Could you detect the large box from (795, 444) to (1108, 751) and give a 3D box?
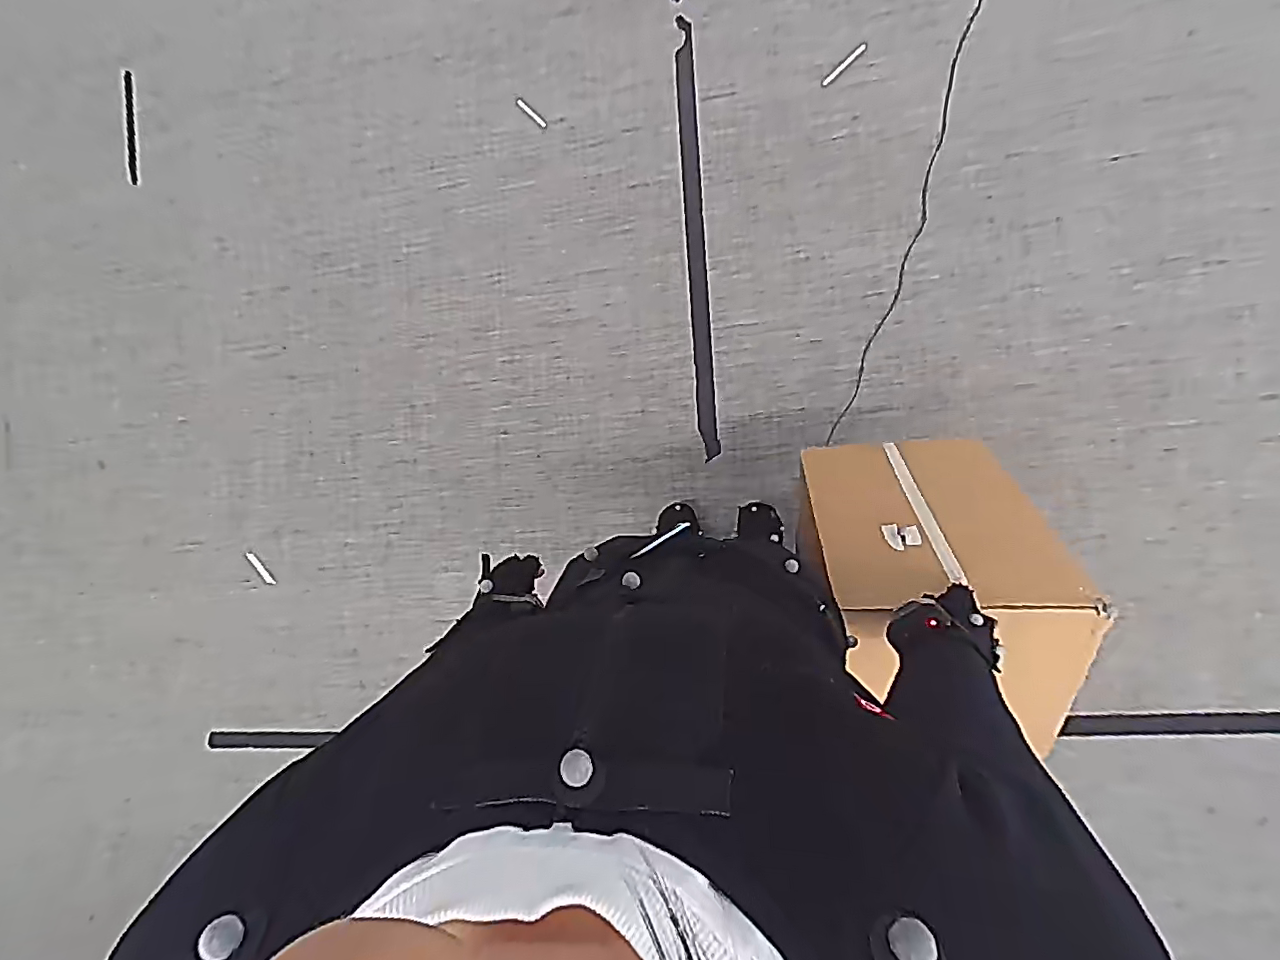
[{"bbox_3d":[0.447,0.177,0.908,0.320,0.408,0.320,-4,124,11],"label":"large box"}]
